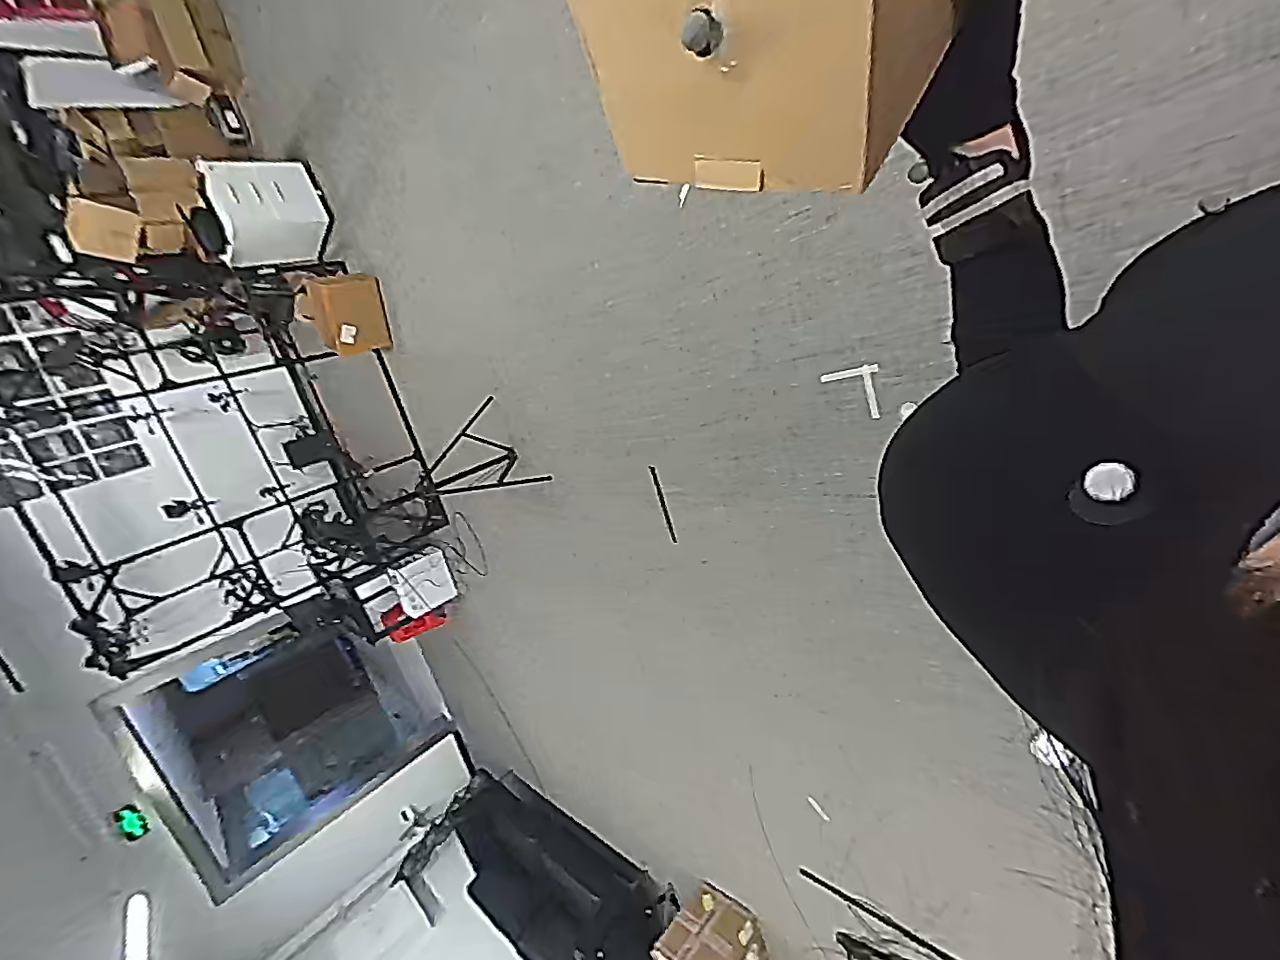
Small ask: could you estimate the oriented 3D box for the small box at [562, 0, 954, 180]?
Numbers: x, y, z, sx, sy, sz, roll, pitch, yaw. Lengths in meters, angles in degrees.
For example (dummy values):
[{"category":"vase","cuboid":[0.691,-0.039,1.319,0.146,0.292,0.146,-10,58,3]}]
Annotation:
[{"category":"small box","cuboid":[0.062,-0.292,0.280,0.168,0.179,0.176,22,162,29]}]
